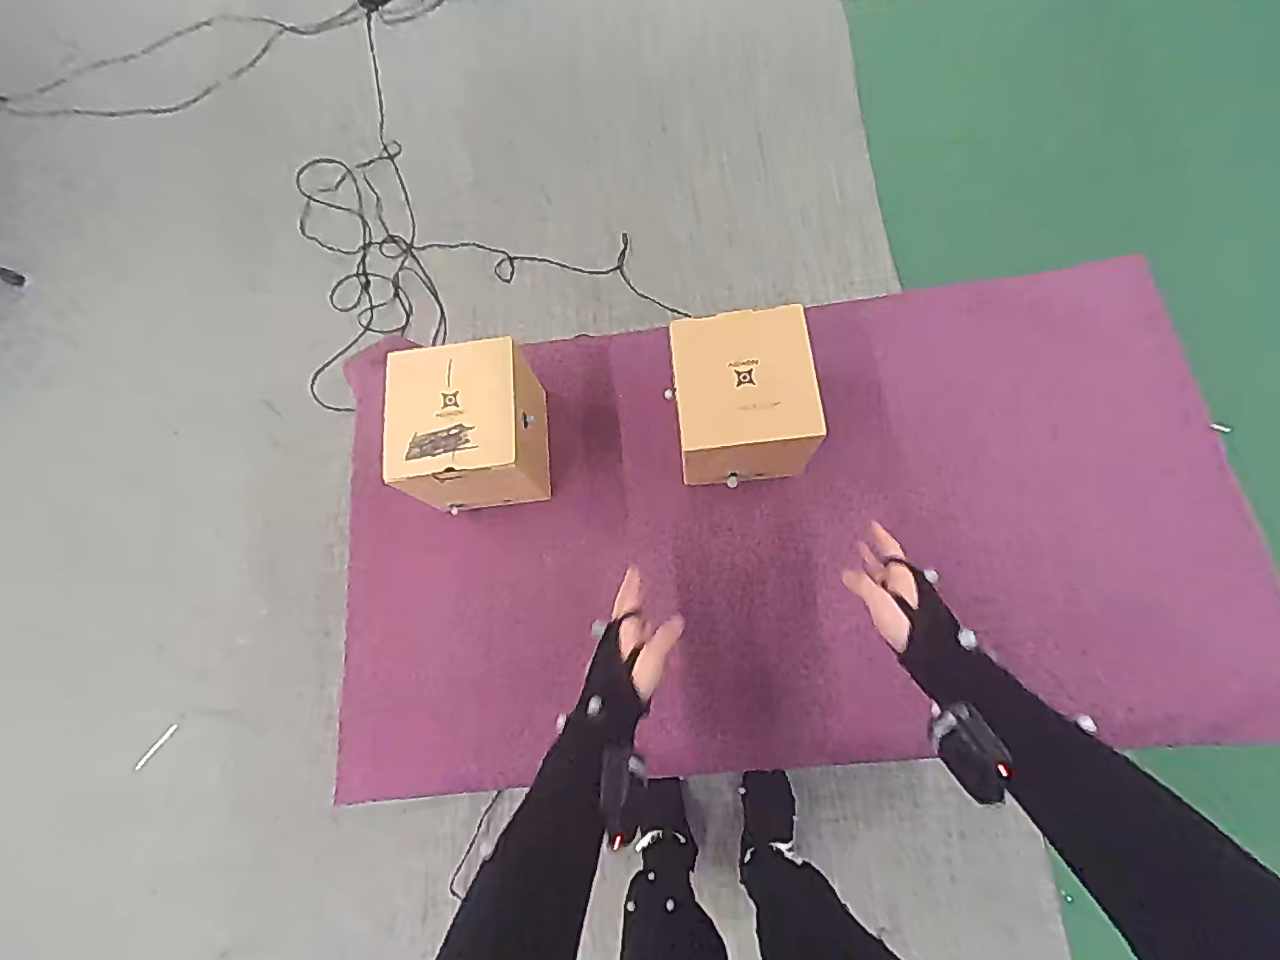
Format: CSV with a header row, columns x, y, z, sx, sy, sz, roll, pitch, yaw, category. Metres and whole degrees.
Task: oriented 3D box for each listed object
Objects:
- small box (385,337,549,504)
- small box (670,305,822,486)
x,y,z,sx,sy,sz,roll,pitch,yaw,category
-0.226,-0.069,0.745,0.168,0.176,0.179,-7,73,3,small box
0.129,-0.103,0.720,0.168,0.176,0.179,-6,74,5,small box
